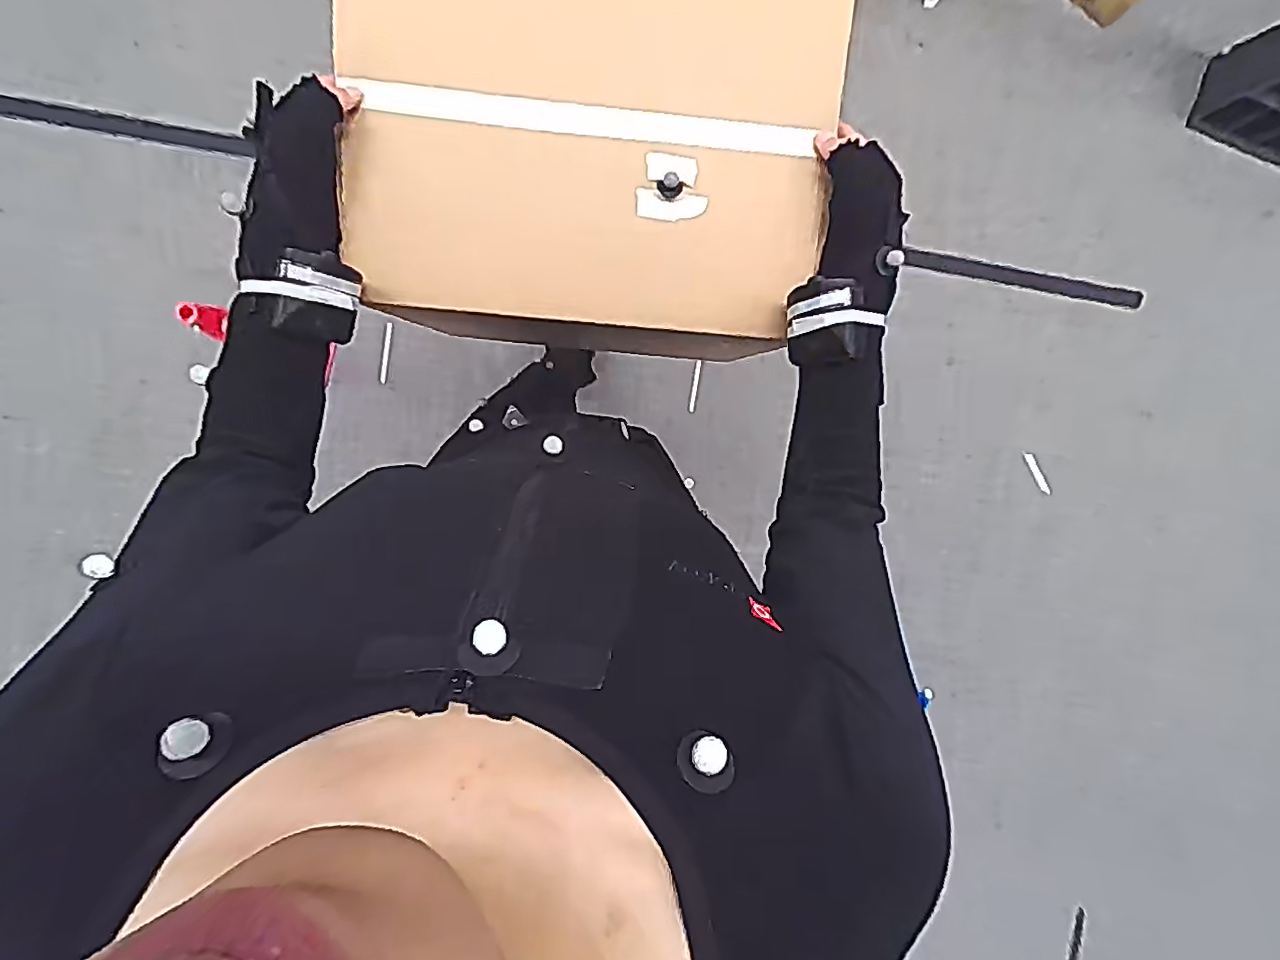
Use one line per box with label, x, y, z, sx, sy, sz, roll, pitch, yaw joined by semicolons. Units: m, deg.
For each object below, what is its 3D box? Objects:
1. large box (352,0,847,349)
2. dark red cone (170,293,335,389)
large box;-0.044;-0.325;0.593;0.408;0.320;0.320;4;99;-4
dark red cone;-0.845;-0.326;1.160;0.201;0.394;0.202;14;93;-6
